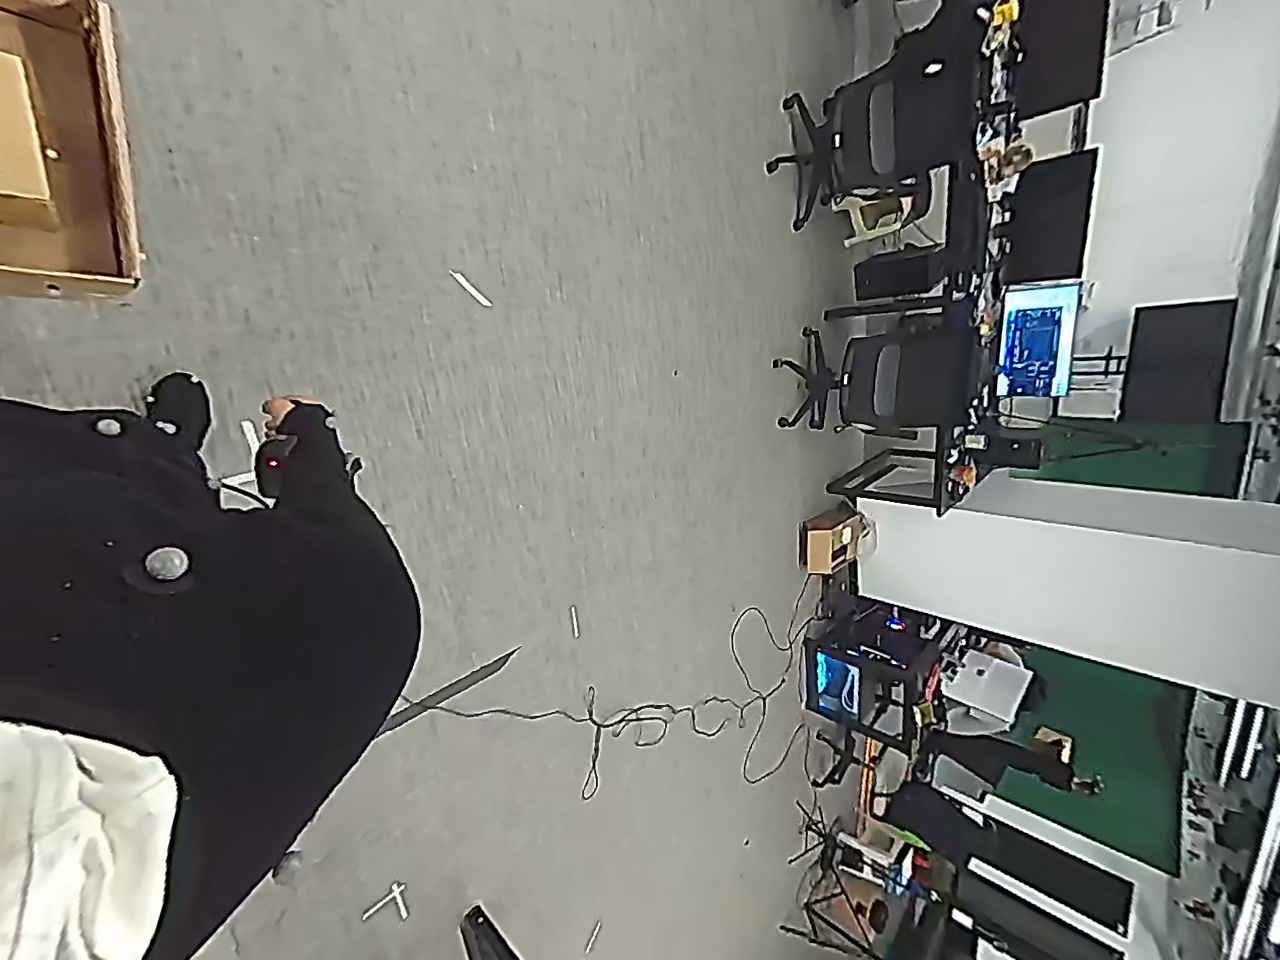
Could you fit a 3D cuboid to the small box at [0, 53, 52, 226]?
[{"bbox_3d":[-0.897,-0.444,0.696,0.168,0.176,0.179,-12,104,-44],"label":"small box"}]
